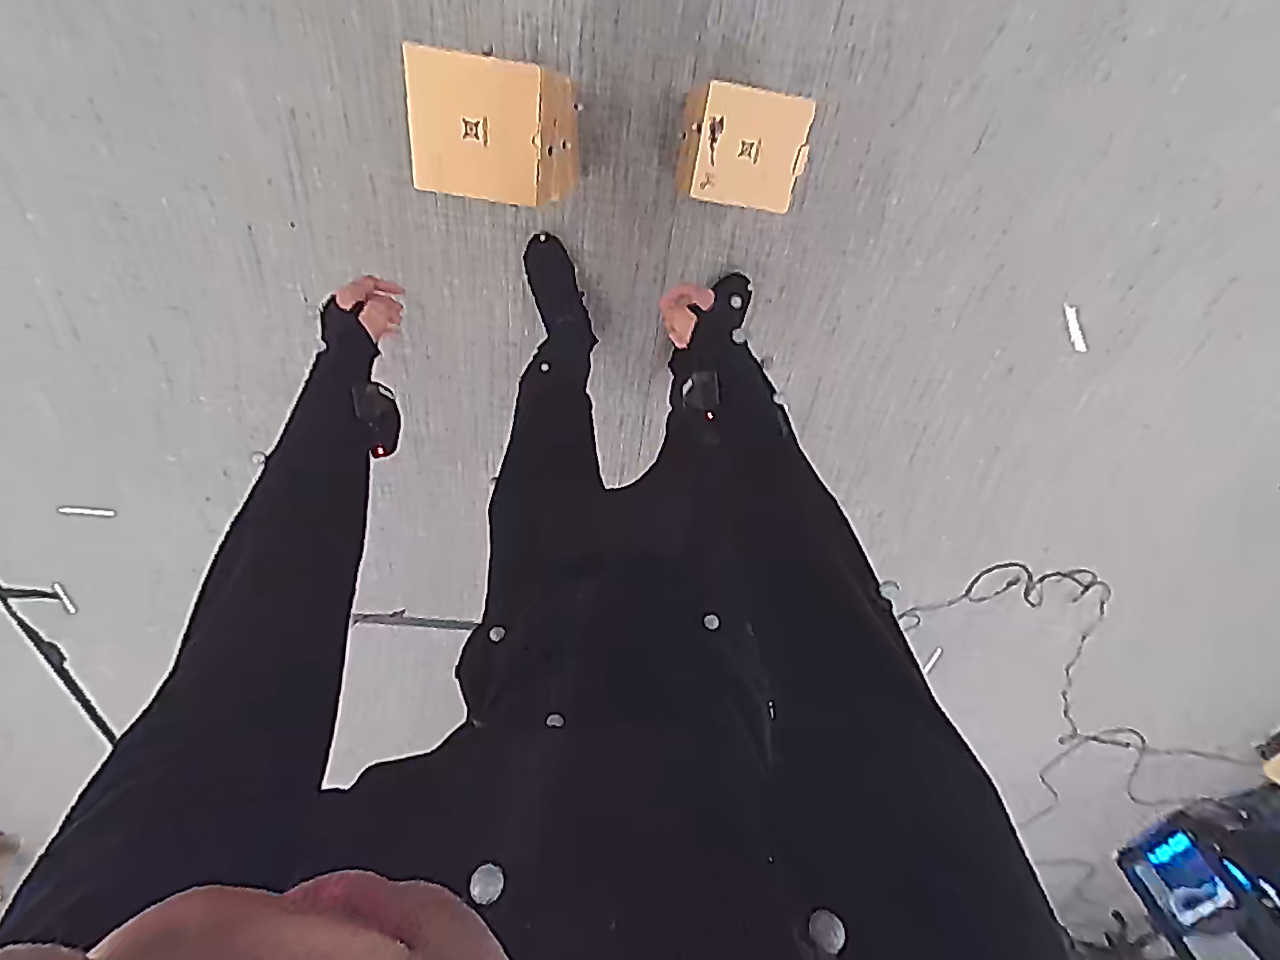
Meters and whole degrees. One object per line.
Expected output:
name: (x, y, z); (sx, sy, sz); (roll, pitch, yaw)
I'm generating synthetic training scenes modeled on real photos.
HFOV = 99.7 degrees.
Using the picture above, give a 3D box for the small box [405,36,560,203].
small box: (-0.218, -0.516, 0.786); (0.179, 0.176, 0.168); (7, 124, -5)

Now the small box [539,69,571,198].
small box: (-0.210, -0.596, 0.927); (0.168, 0.176, 0.179); (2, 125, -2)

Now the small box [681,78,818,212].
small box: (0.179, -0.584, 0.946); (0.179, 0.176, 0.168); (7, 123, -7)

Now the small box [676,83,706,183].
small box: (0.174, -0.676, 1.082); (0.179, 0.176, 0.168); (6, 124, -7)

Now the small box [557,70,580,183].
small box: (-0.206, -0.691, 1.060); (0.168, 0.176, 0.179); (1, 124, -2)
